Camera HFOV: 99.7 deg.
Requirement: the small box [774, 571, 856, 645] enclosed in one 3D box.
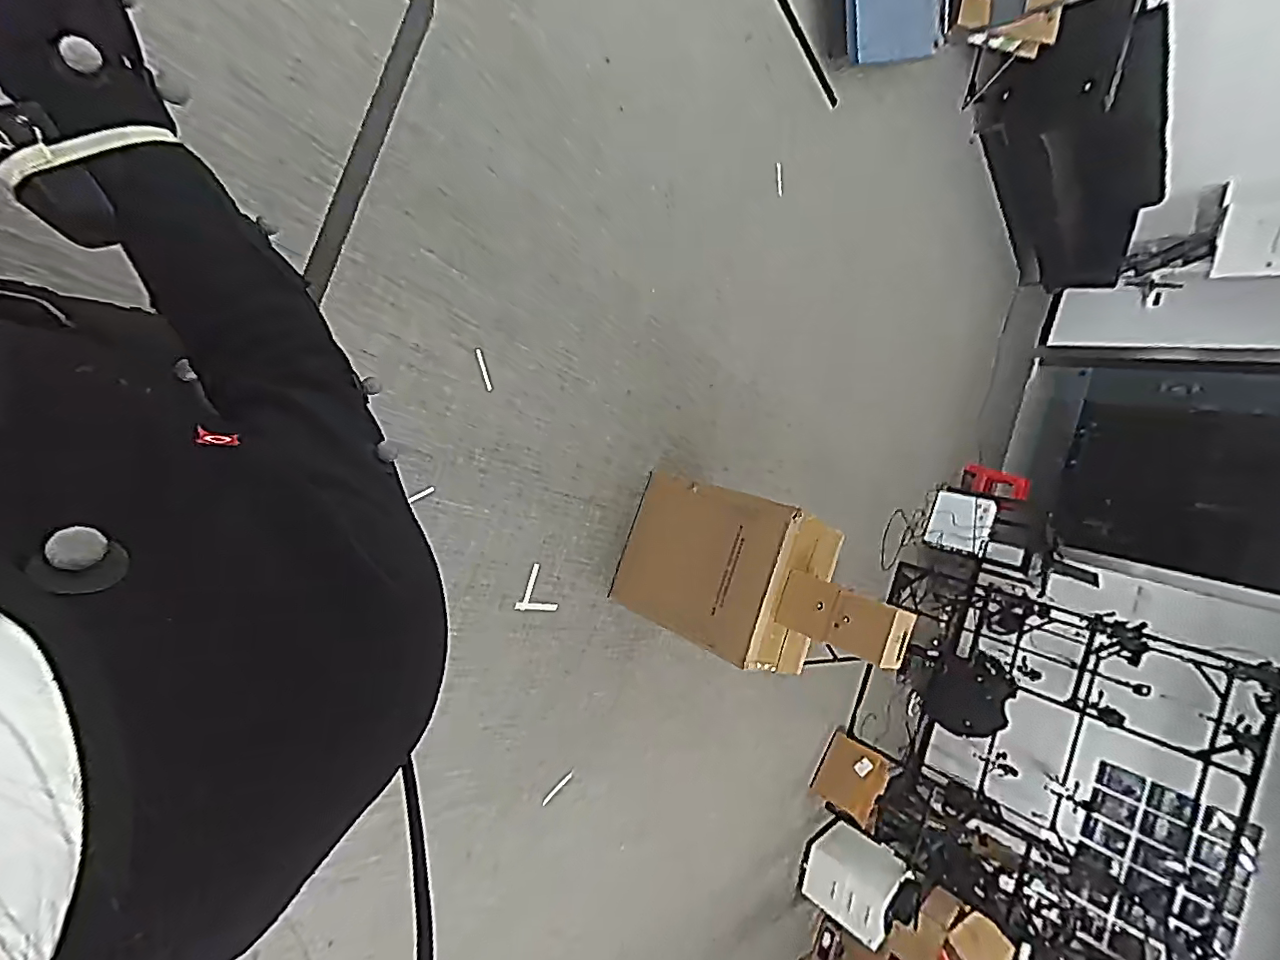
[{"bbox_3d":[0.544,0.397,1.688,0.168,0.176,0.179,23,86,-46],"label":"small box"}]
